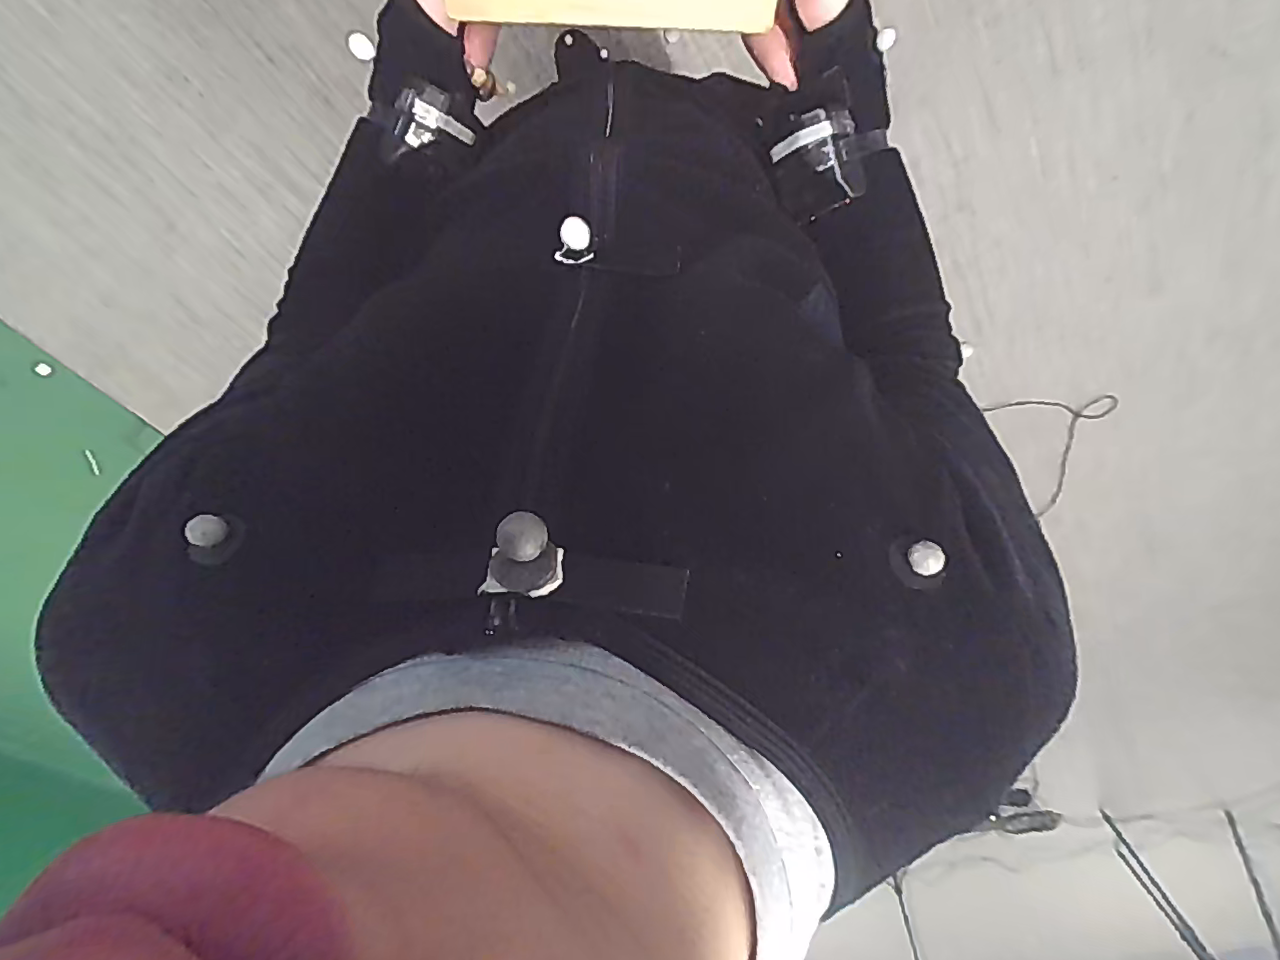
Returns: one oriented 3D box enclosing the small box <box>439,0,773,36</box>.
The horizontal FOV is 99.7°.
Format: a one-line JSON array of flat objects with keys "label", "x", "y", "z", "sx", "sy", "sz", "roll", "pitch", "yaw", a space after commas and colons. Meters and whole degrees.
[{"label": "small box", "x": -0.021, "y": -0.354, "z": 0.285, "sx": 0.179, "sy": 0.176, "sz": 0.168, "roll": -2, "pitch": 135, "yaw": -4}]
